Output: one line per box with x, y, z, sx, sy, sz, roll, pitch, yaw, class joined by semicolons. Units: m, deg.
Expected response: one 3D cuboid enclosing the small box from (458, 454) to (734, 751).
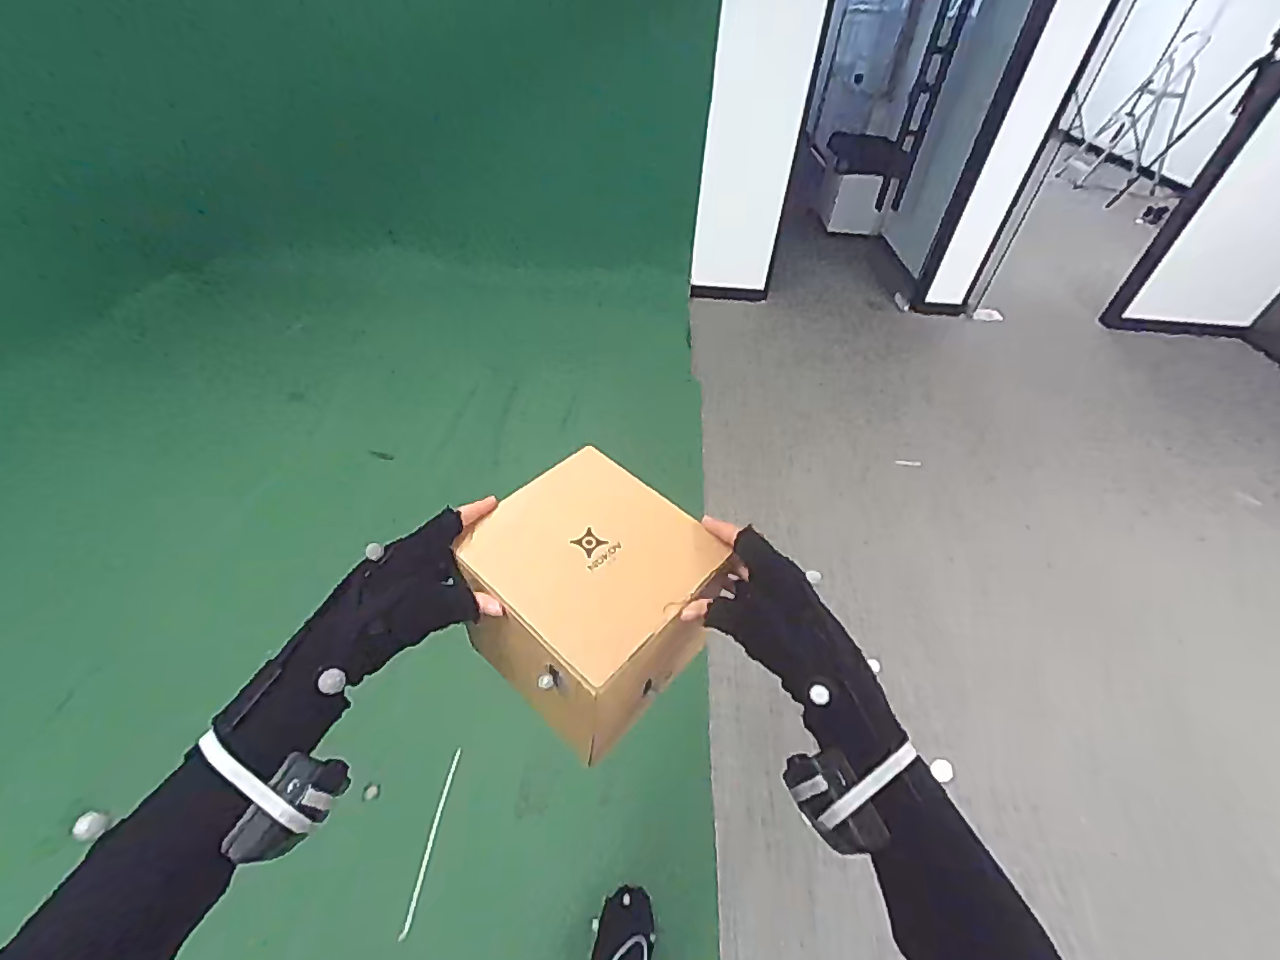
-0.045;0.113;0.507;0.179;0.176;0.168;37;52;24;small box
